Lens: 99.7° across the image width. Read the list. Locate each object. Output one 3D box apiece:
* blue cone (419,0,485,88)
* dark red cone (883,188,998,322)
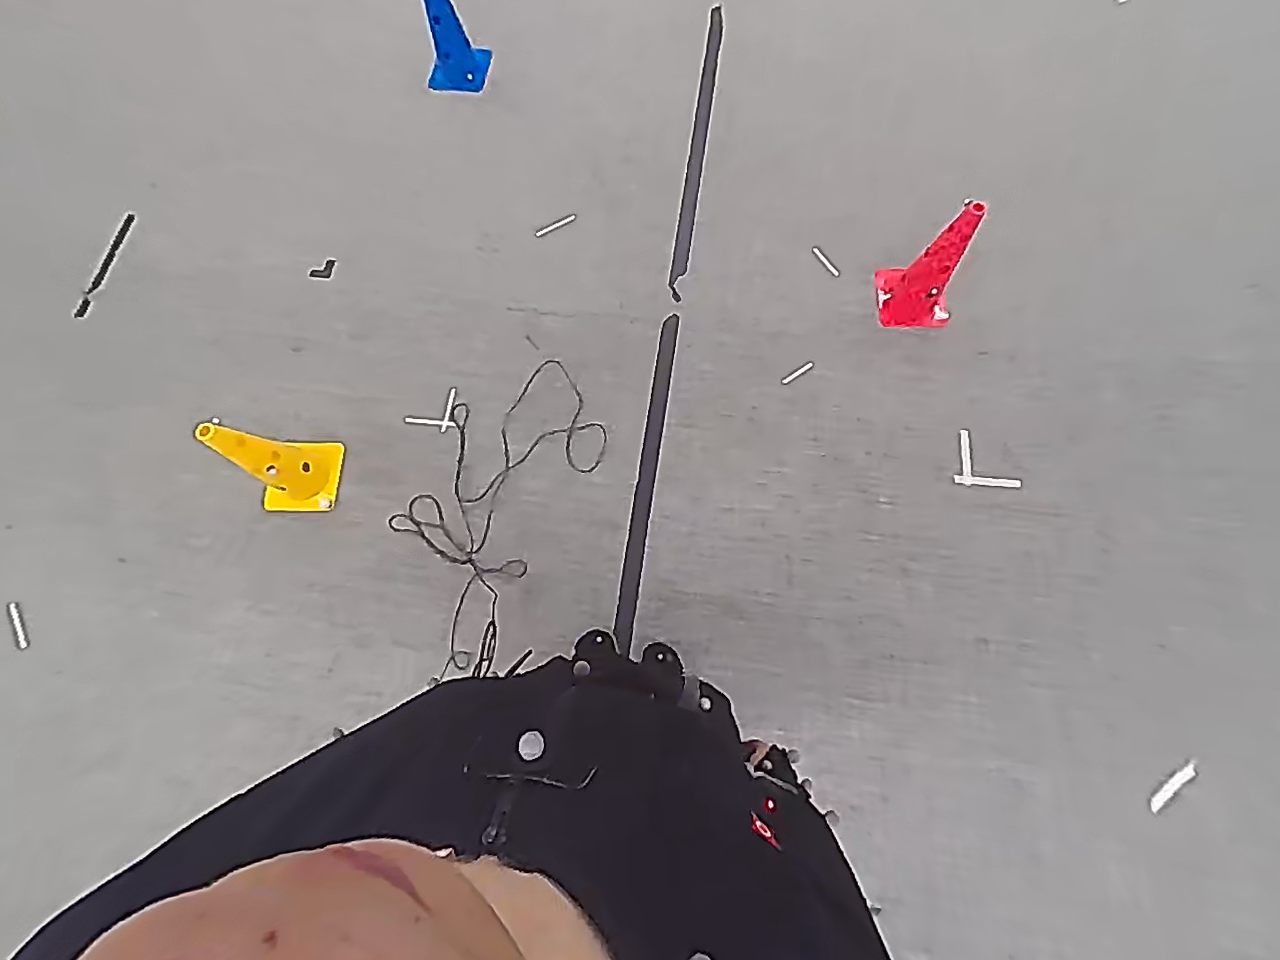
[{"bbox_3d":[-0.660,-1.509,1.759,0.192,0.380,0.193,8,74,5],"label":"blue cone"},{"bbox_3d":[0.805,-0.596,1.410,0.201,0.394,0.202,0,74,3],"label":"dark red cone"}]
